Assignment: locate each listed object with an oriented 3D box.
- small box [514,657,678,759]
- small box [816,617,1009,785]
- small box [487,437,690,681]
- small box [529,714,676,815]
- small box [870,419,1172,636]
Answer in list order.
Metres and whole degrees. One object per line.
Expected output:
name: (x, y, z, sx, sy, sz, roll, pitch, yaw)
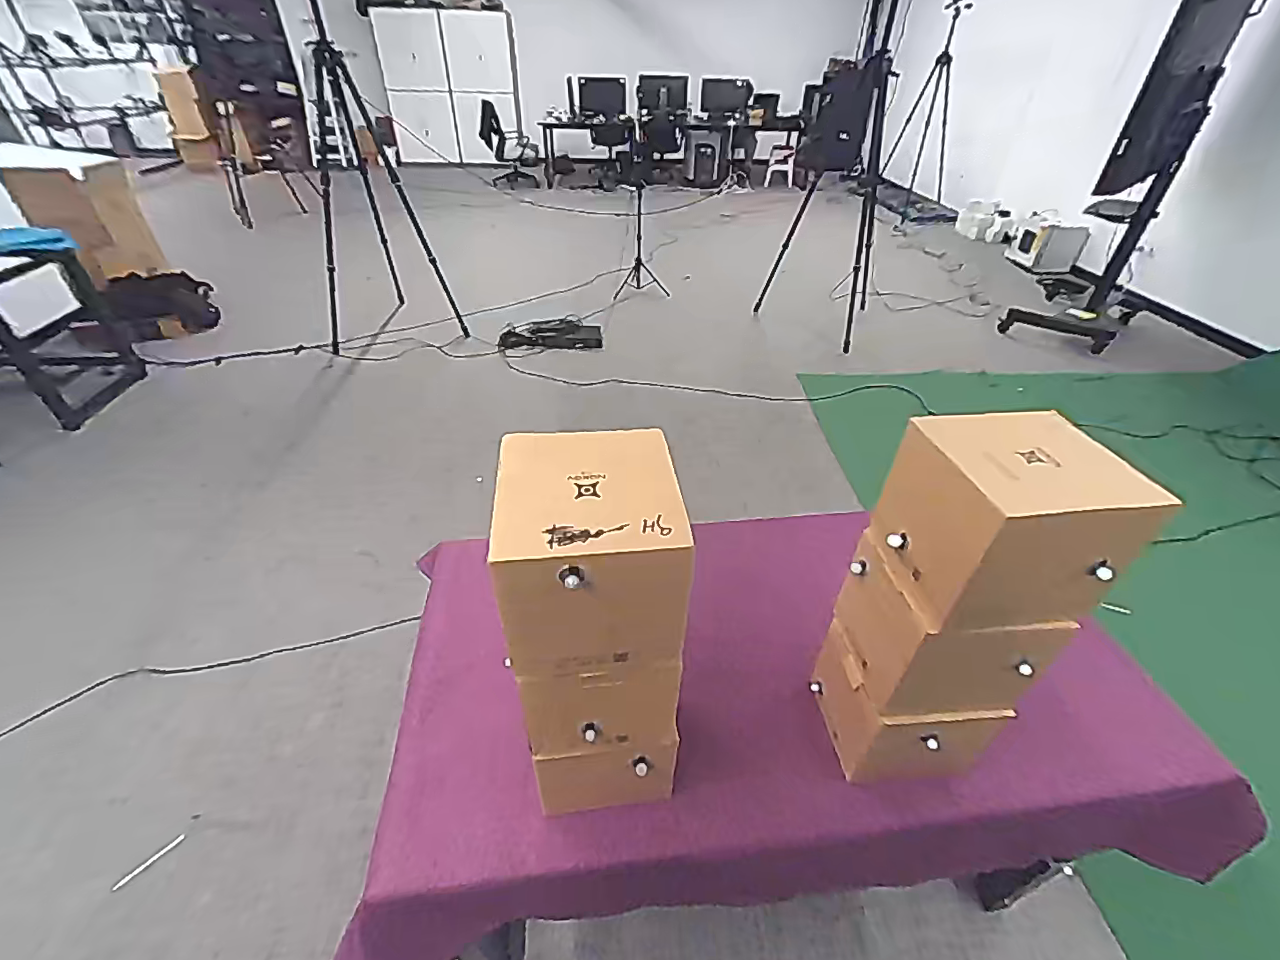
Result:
small box: (-0.055, 0.202, 0.647, 0.168, 0.176, 0.179, -3, 39, -7)
small box: (0.368, 0.317, 0.776, 0.179, 0.176, 0.168, -2, 38, -4)
small box: (-0.051, 0.074, 0.544, 0.168, 0.176, 0.179, -3, 38, -6)
small box: (-0.054, 0.333, 0.744, 0.179, 0.176, 0.168, -4, 38, -6)
small box: (0.384, 0.049, 0.587, 0.179, 0.176, 0.168, -3, 38, -6)
